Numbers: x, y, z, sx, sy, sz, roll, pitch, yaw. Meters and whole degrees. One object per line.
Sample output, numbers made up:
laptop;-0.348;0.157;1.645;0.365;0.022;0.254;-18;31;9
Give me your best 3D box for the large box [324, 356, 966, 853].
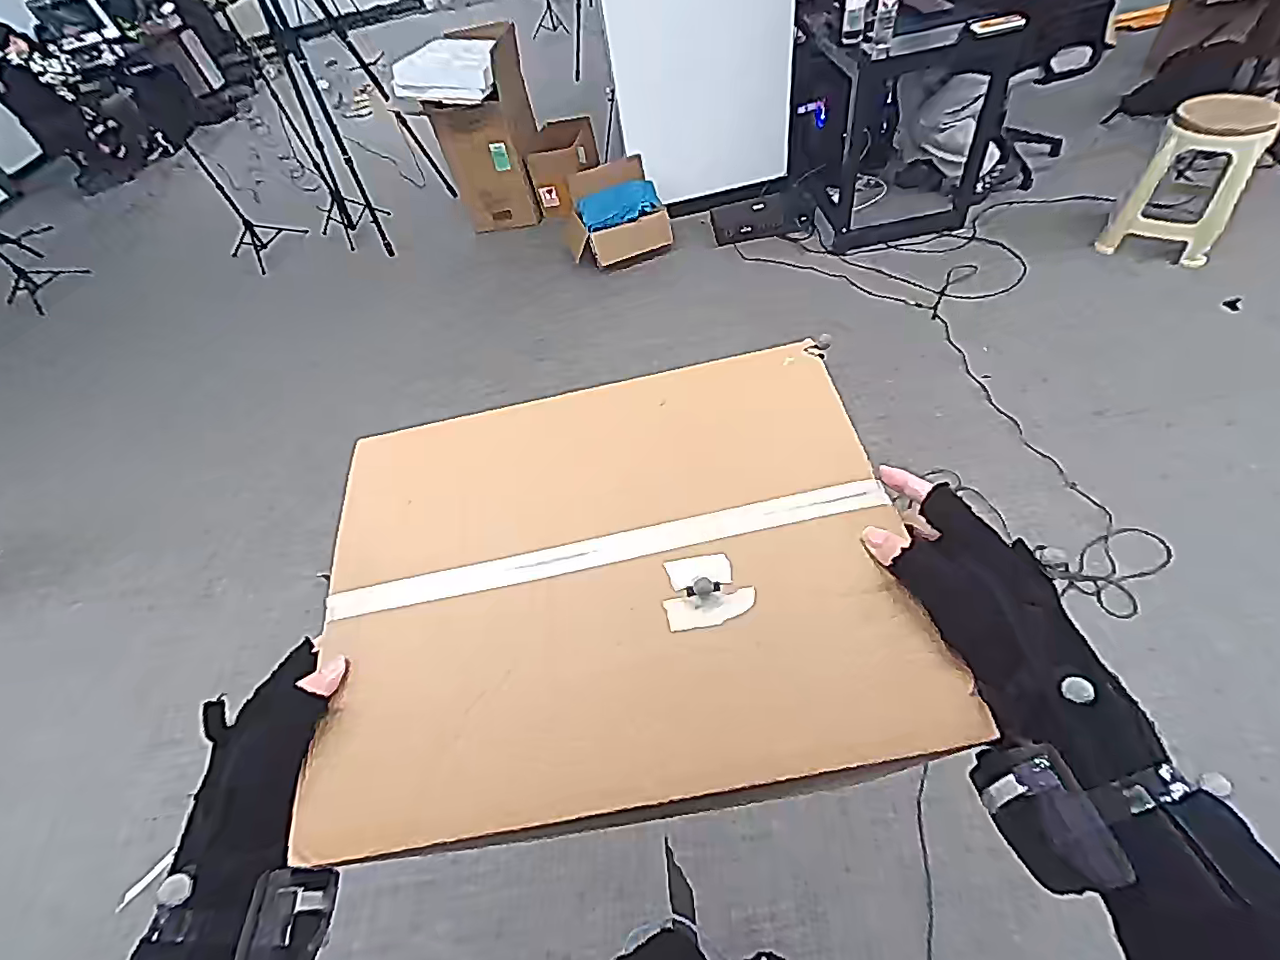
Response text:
large box;-0.004;0.136;0.526;0.408;0.320;0.320;-12;57;2
